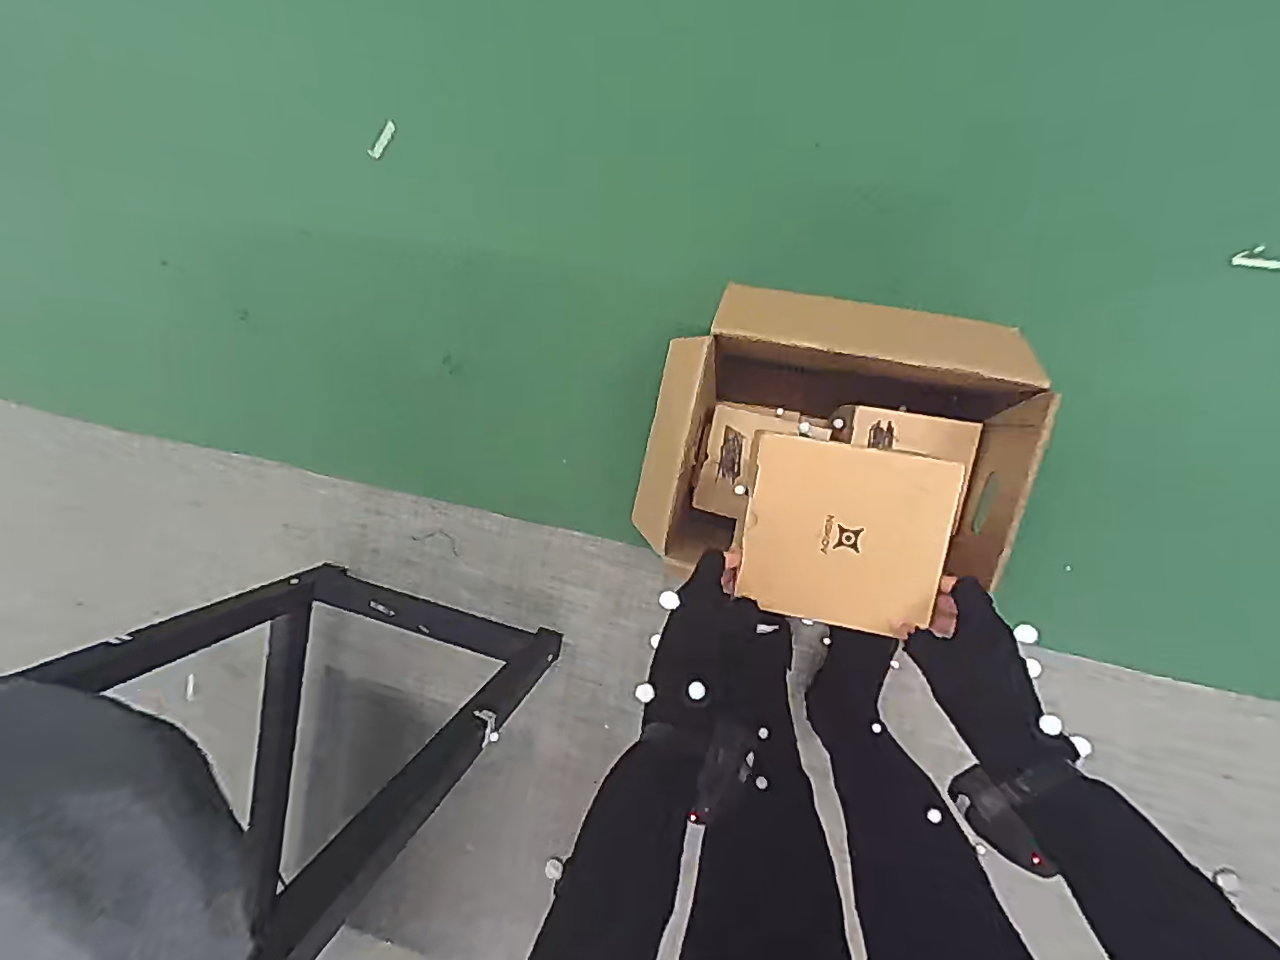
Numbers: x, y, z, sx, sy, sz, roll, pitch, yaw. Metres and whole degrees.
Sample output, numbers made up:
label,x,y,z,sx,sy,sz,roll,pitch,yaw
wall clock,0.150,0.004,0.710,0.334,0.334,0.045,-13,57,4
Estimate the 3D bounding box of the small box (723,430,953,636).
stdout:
label,x,y,z,sx,sy,sz,roll,pitch,yaw
small box,0.189,0.040,0.567,0.179,0.176,0.168,9,97,10
